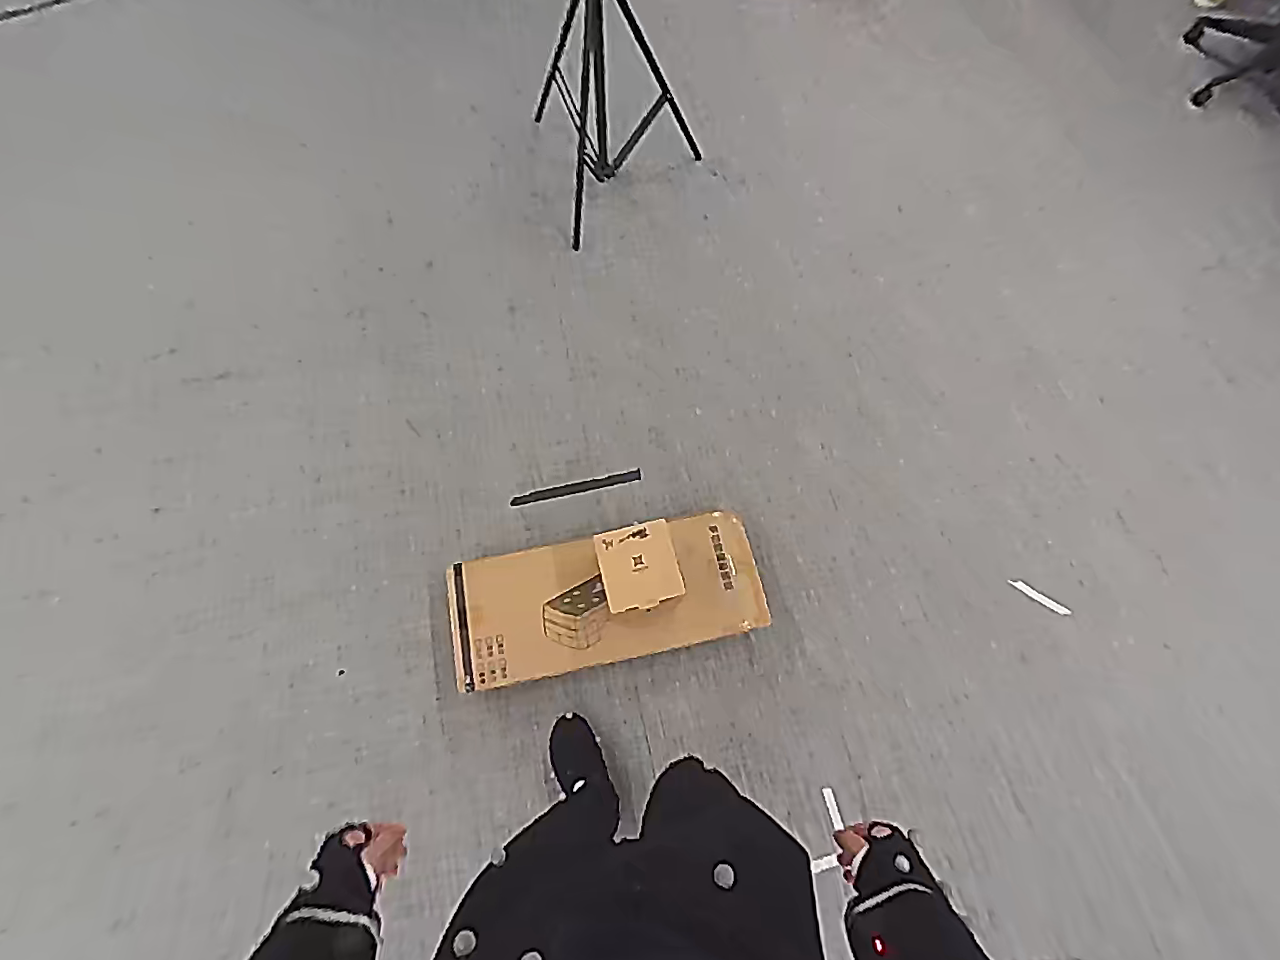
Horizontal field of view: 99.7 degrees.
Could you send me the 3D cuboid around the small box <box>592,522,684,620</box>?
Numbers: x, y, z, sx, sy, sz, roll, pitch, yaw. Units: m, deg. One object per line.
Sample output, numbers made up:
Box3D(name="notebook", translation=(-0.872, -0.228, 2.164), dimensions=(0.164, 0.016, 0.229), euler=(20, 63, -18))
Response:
Box3D(name="small box", translation=(-0.006, 0.214, 1.228), dimensions=(0.168, 0.176, 0.179), euler=(-13, 71, -7))
